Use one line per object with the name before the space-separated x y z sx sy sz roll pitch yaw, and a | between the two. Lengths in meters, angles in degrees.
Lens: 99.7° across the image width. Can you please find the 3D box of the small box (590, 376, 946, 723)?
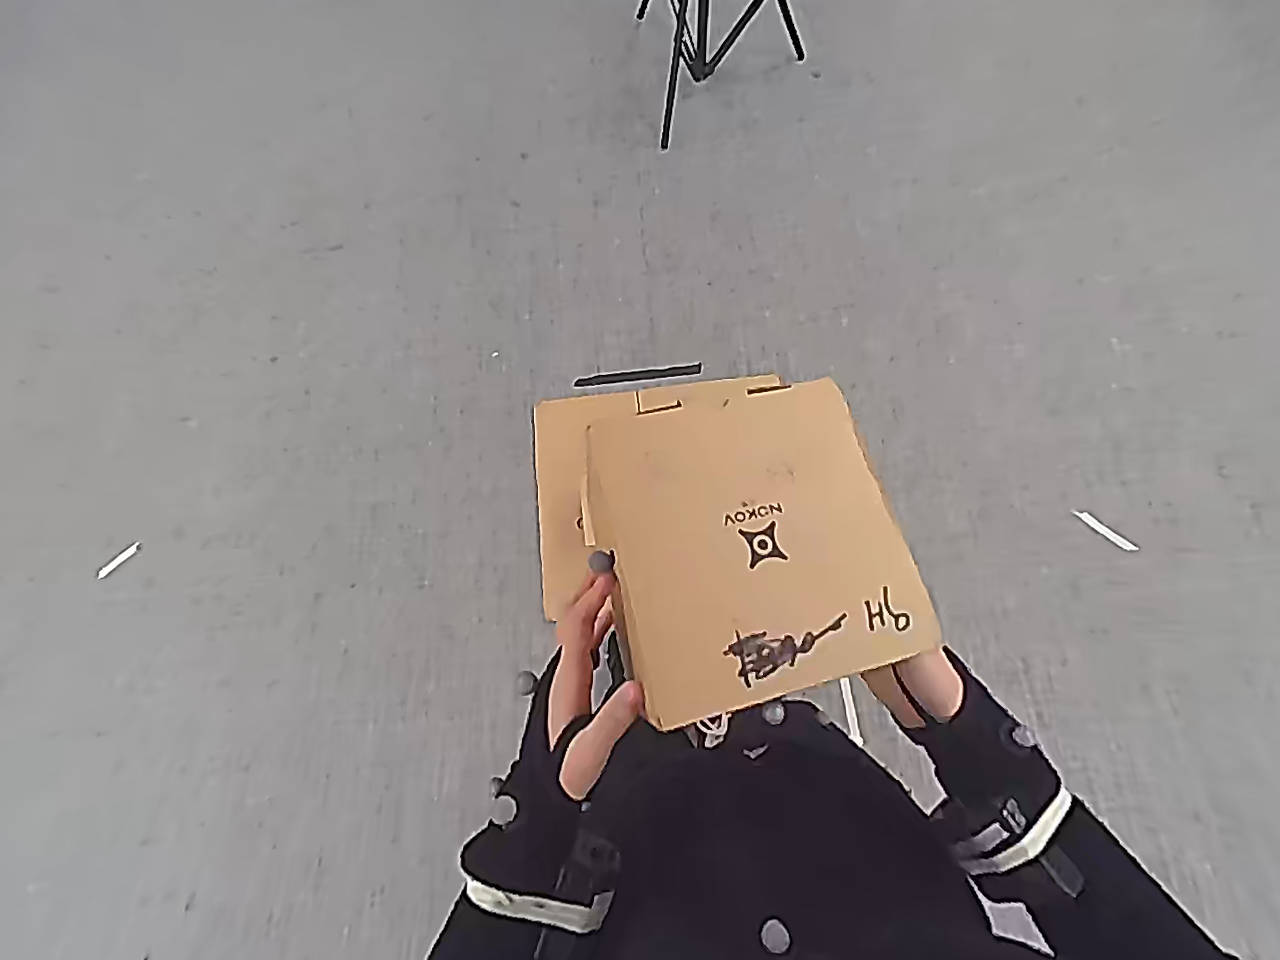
small box | 0.060 0.055 0.380 0.168 0.176 0.179 -12 72 -9

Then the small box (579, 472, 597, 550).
small box | -0.049 0.078 1.342 0.168 0.176 0.179 -8 74 1
